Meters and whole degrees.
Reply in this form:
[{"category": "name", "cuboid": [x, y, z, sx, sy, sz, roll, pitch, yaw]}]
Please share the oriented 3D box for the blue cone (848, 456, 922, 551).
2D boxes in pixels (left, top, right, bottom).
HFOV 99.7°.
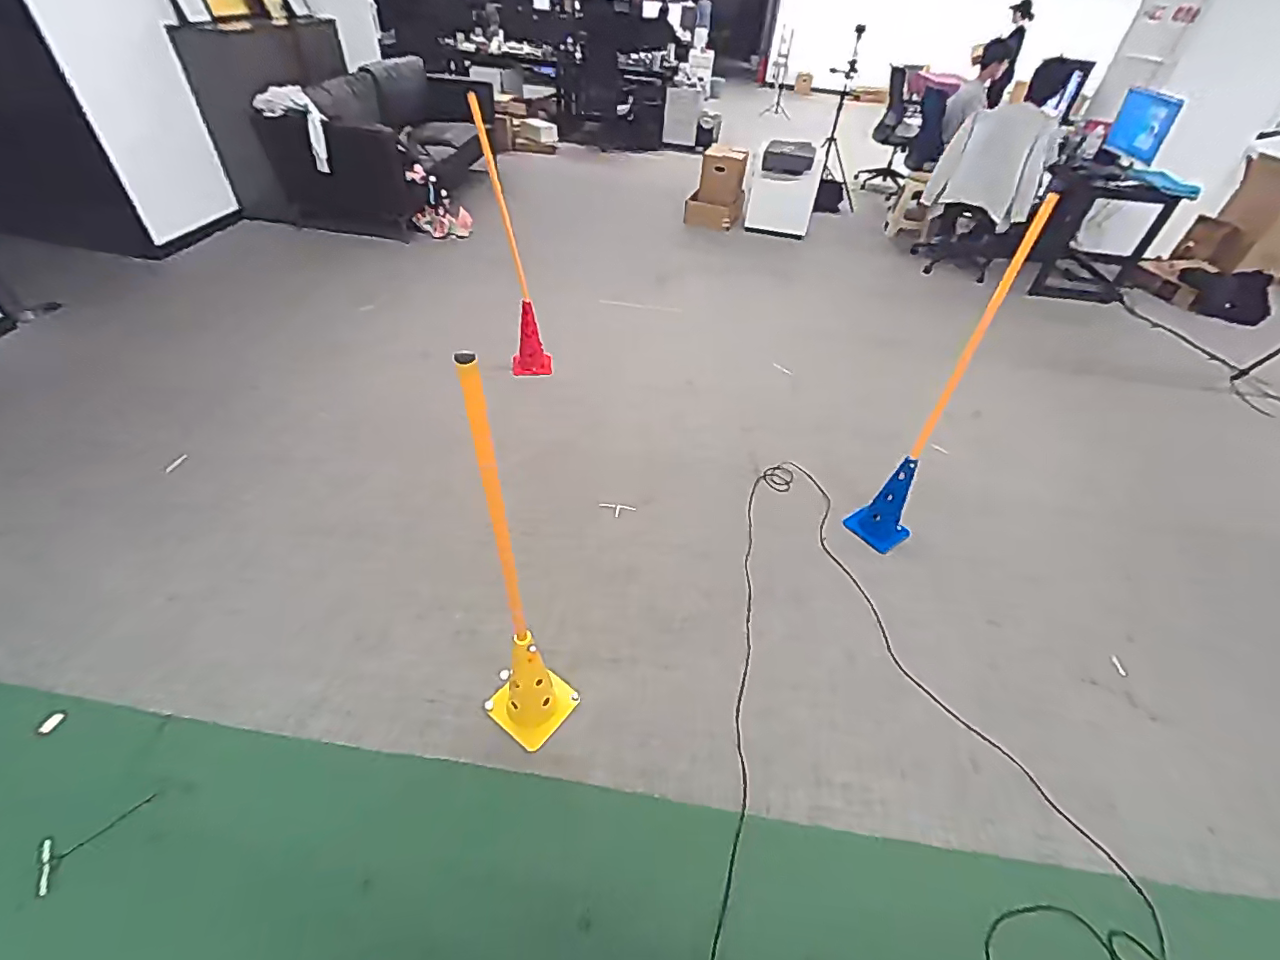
[{"category": "blue cone", "cuboid": [0.942, 0.062, 2.007, 0.193, 0.380, 0.192, -23, 49, -31]}]
